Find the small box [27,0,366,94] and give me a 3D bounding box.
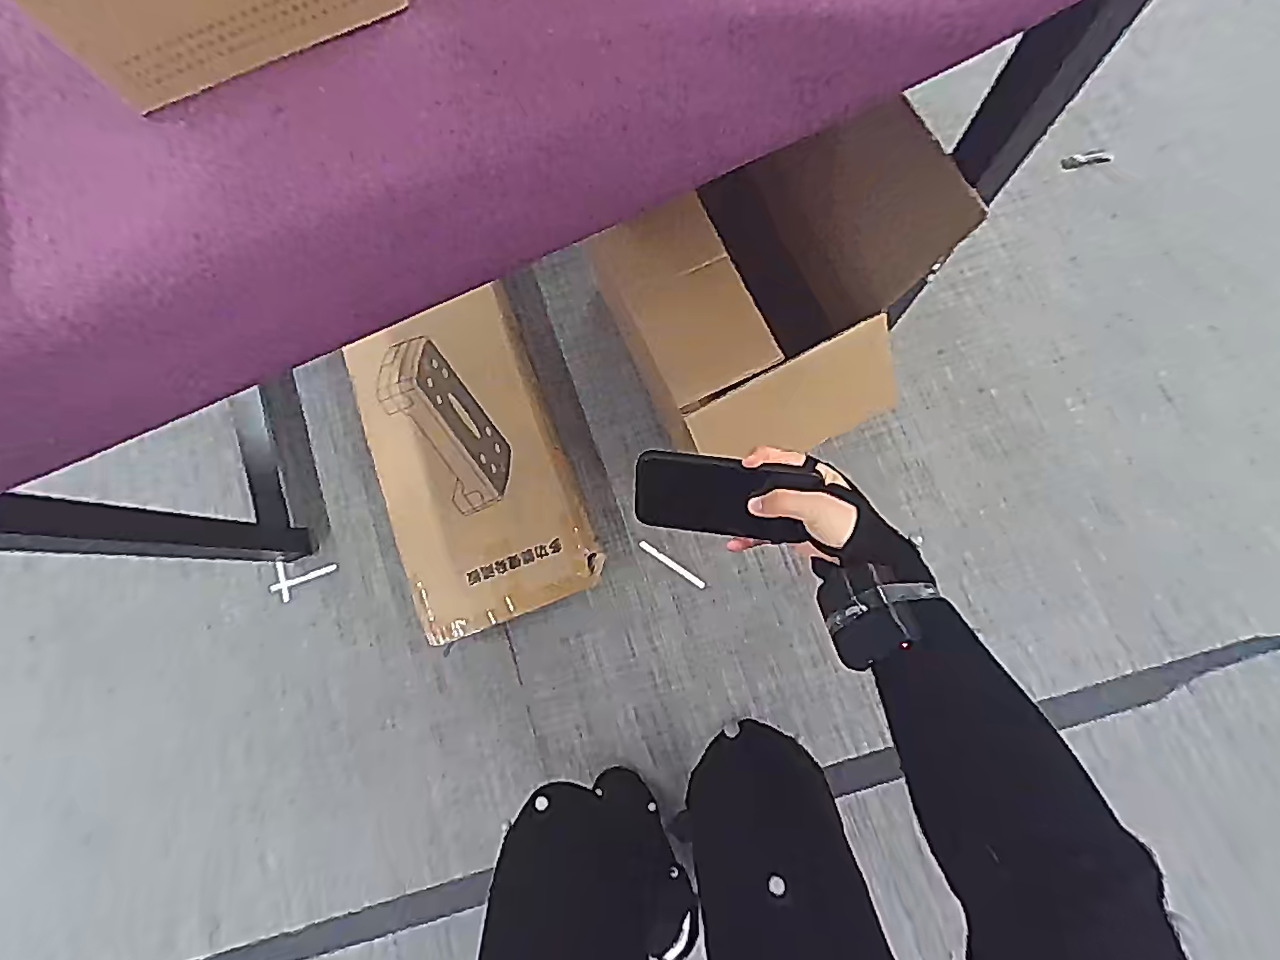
[{"bbox_3d":[-0.248,-0.340,0.255,0.179,0.176,0.168,-22,76,1],"label":"small box"}]
